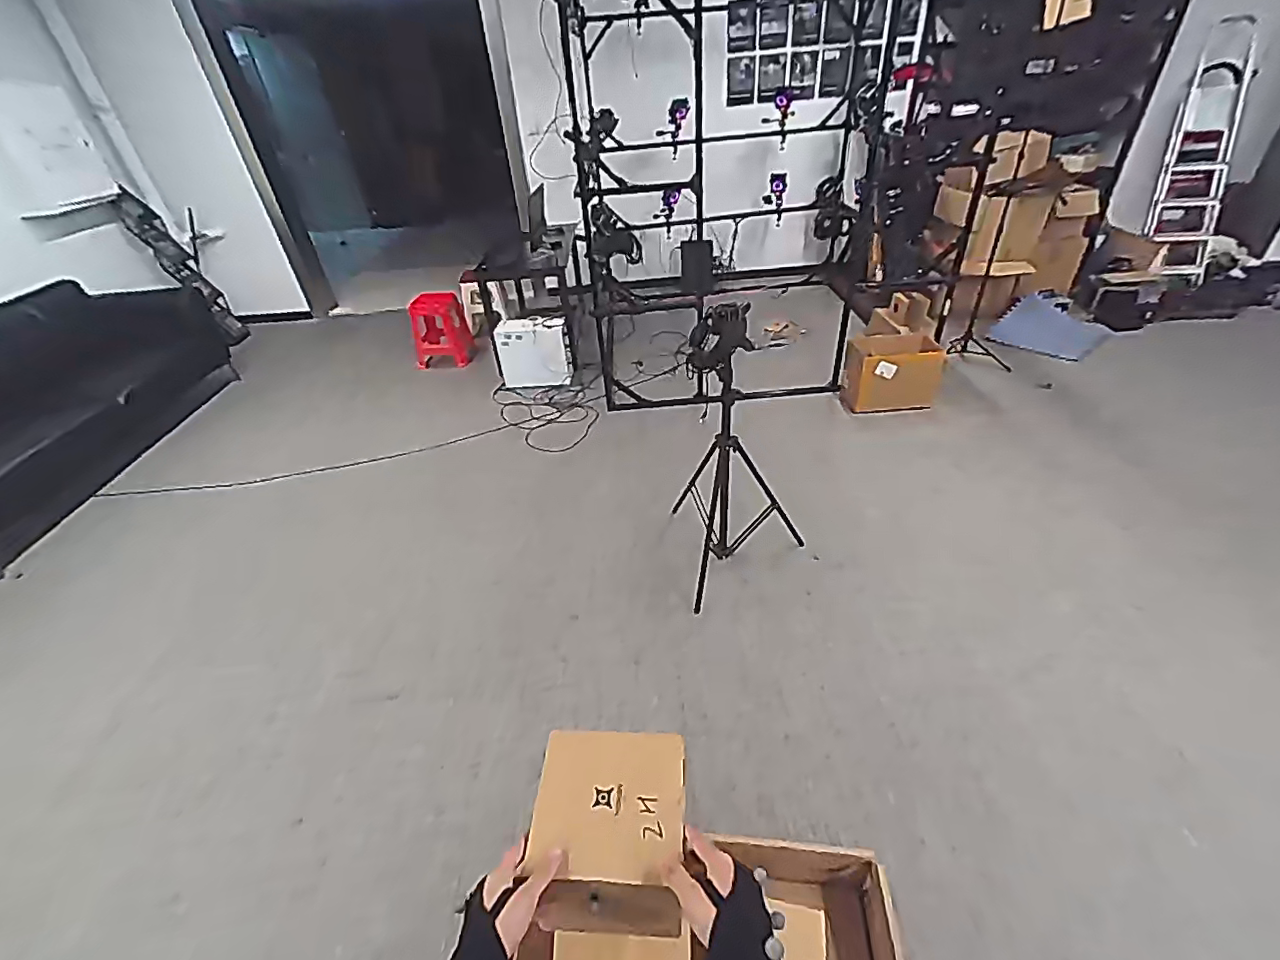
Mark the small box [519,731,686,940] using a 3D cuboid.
[{"bbox_3d":[-0.033,0.439,0.670,0.179,0.176,0.168,2,36,4],"label":"small box"}]
